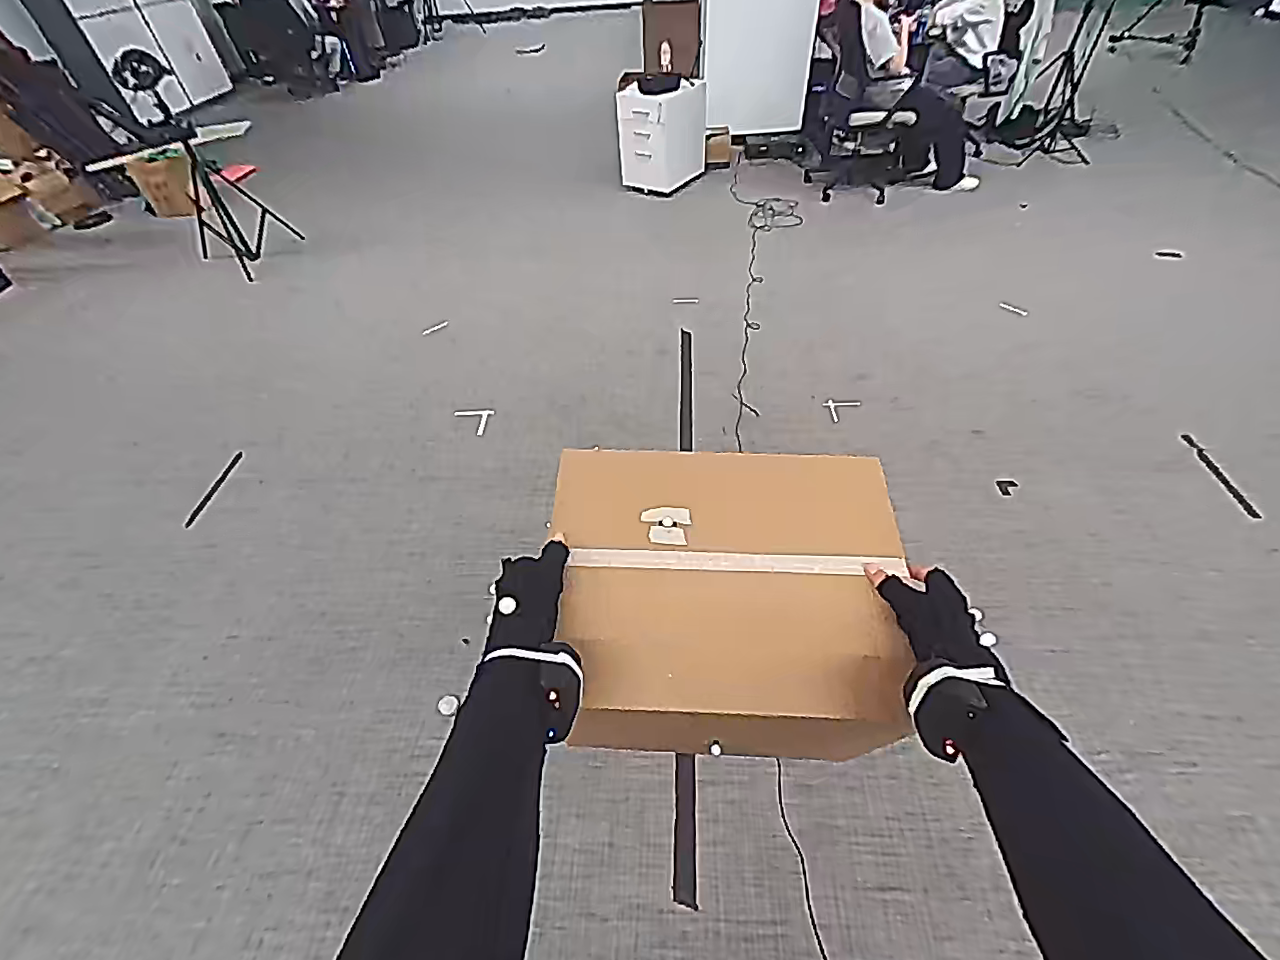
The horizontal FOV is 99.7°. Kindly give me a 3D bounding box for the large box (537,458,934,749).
[{"bbox_3d":[0.104,0.181,0.743,0.408,0.320,0.320,1,56,3],"label":"large box"}]
